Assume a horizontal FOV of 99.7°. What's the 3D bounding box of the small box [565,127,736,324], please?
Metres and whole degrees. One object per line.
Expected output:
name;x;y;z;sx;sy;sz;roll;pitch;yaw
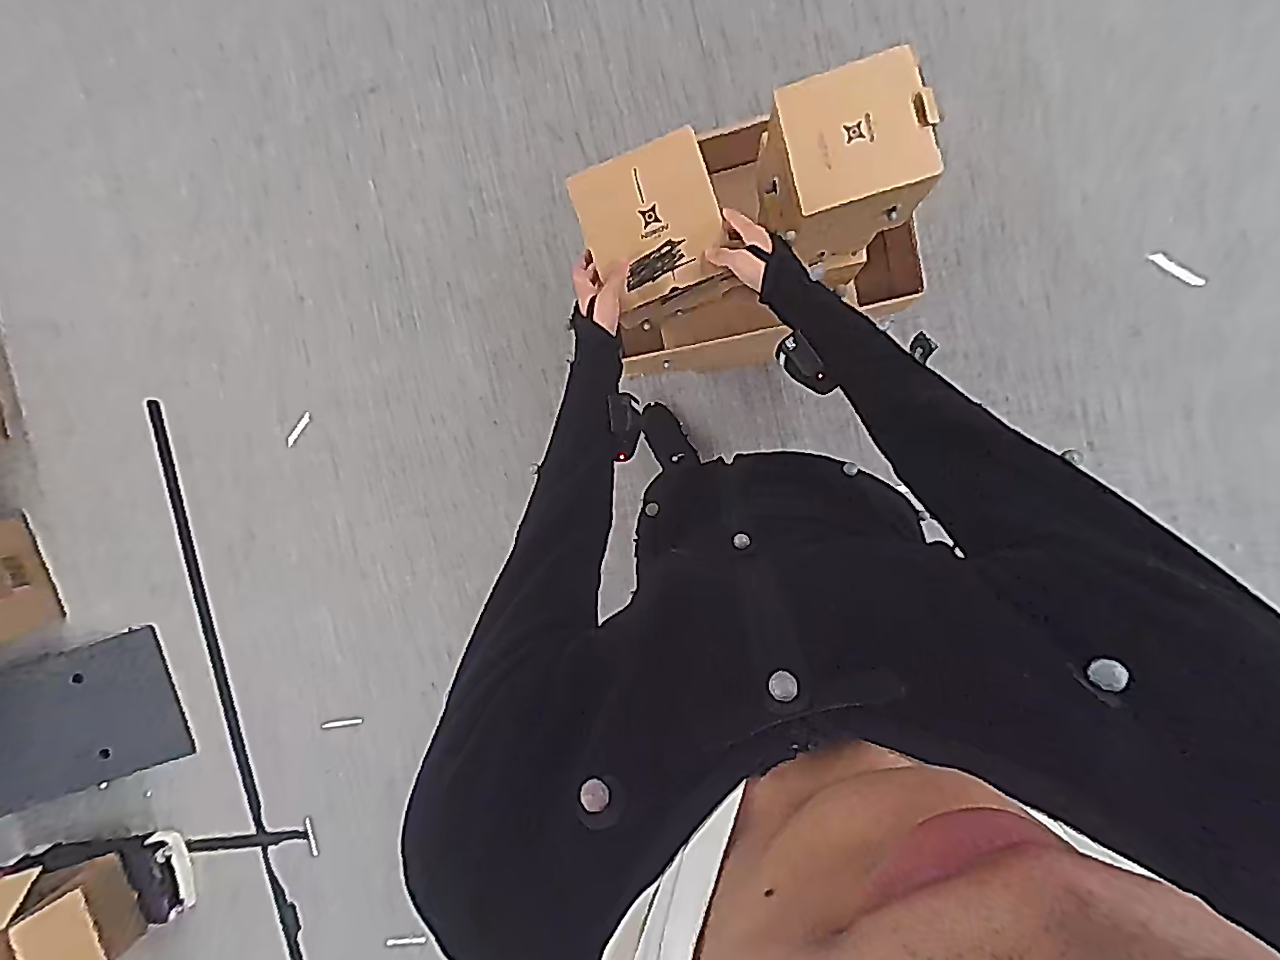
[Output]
small box;0.020;-0.321;0.729;0.168;0.176;0.179;-20;98;7

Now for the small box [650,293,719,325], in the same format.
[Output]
small box;0.059;-0.443;1.112;0.168;0.176;0.179;-19;92;10

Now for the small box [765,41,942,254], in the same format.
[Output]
small box;0.280;-0.440;0.748;0.179;0.176;0.168;-13;92;10
